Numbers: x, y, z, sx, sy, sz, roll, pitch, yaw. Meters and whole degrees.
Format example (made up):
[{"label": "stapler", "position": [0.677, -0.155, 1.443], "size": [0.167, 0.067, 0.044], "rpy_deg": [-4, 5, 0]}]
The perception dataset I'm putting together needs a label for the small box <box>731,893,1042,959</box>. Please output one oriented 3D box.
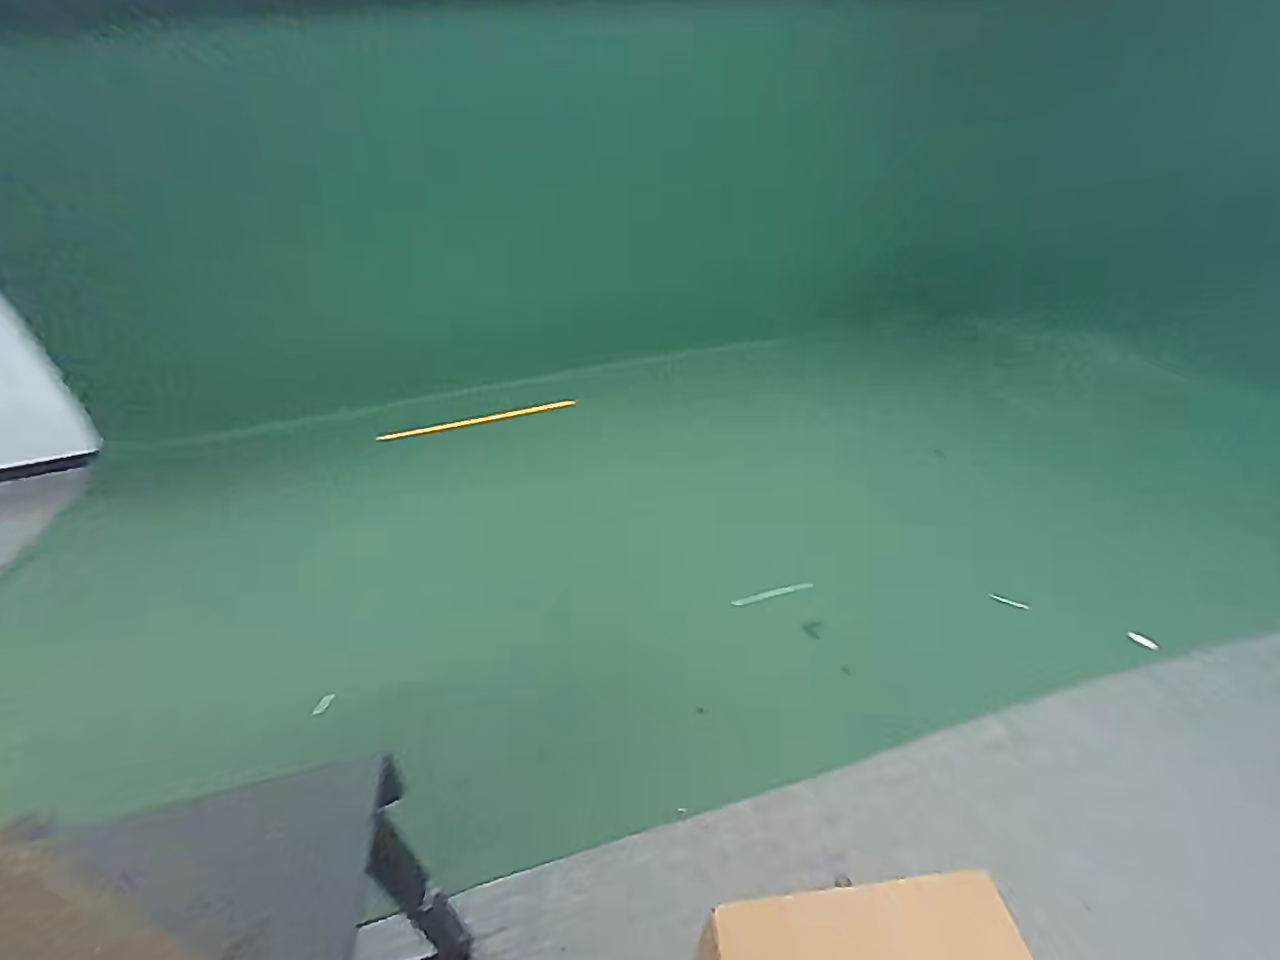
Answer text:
[{"label": "small box", "position": [0.142, 0.365, 0.306], "size": [0.179, 0.176, 0.168], "rpy_deg": [-1, 36, -6]}]
